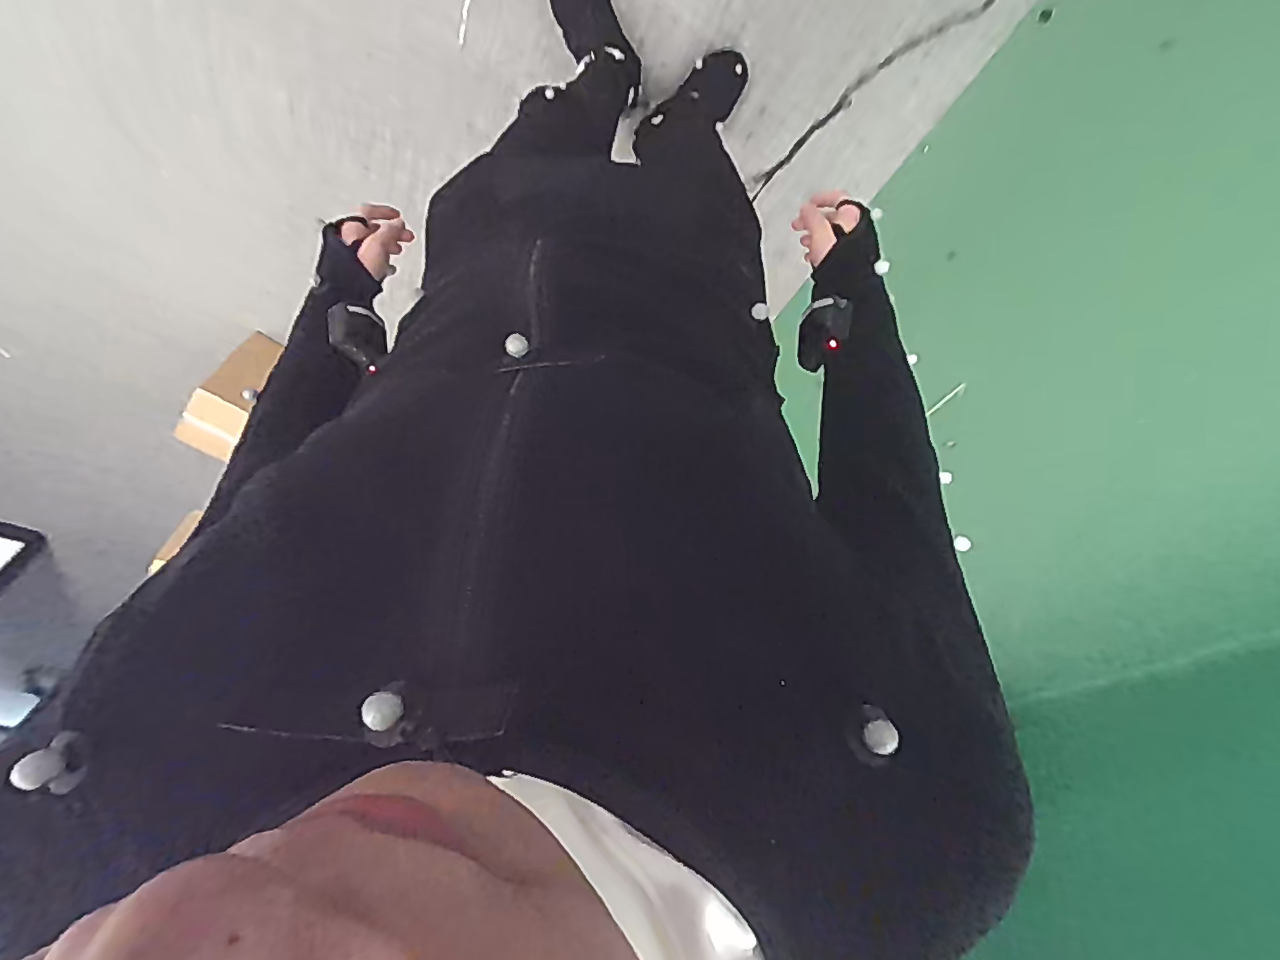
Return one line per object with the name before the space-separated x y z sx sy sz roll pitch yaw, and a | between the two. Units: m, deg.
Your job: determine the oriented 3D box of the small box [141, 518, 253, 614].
small box | -1.188 0.230 1.460 0.168 0.176 0.179 32 130 -26
